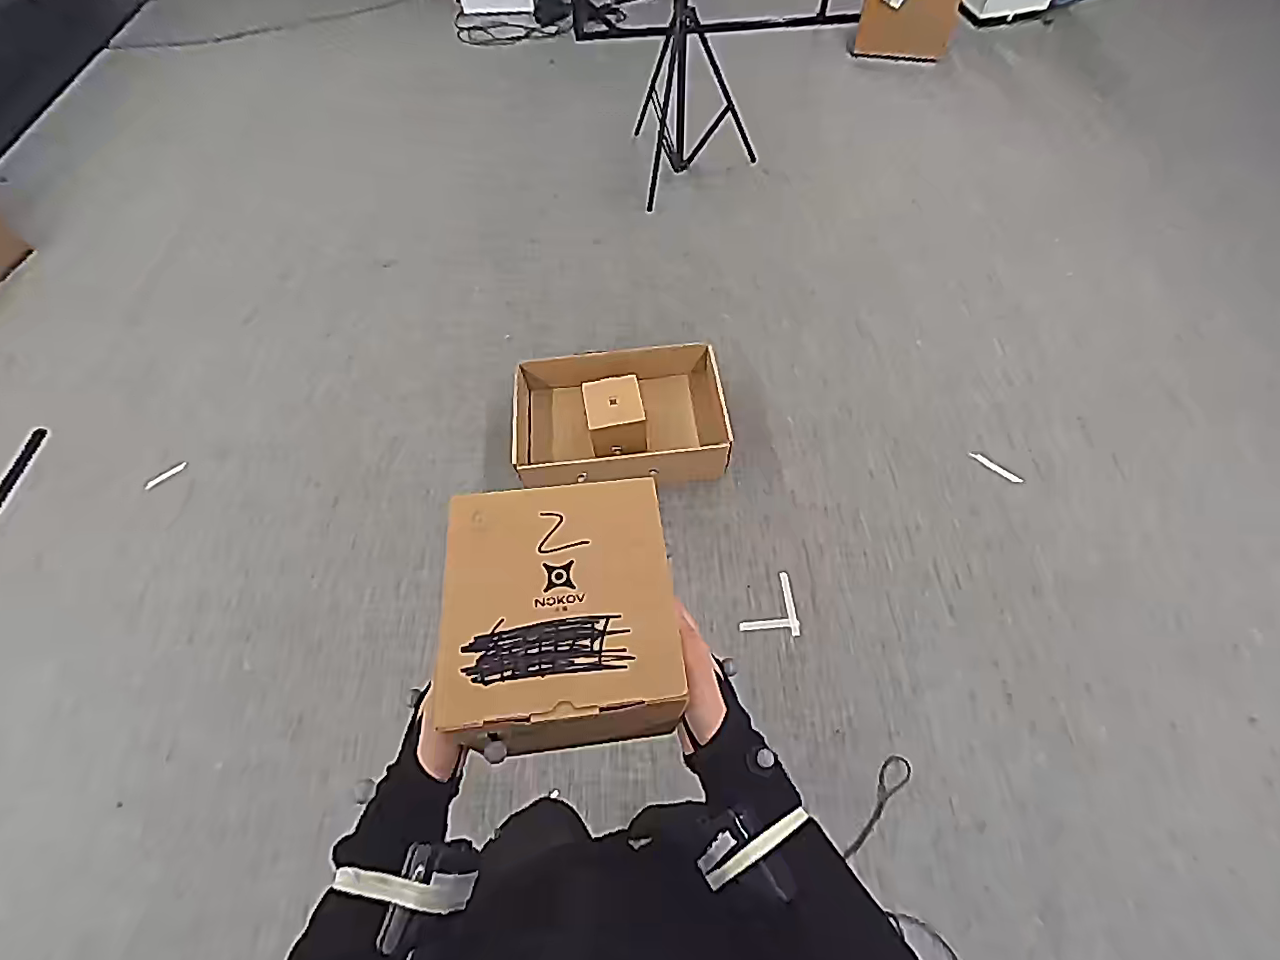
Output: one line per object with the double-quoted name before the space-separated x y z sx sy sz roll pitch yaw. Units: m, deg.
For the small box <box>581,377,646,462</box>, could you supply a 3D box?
"small box" -0.078 -0.180 1.634 0.168 0.176 0.179 -11 61 -3
